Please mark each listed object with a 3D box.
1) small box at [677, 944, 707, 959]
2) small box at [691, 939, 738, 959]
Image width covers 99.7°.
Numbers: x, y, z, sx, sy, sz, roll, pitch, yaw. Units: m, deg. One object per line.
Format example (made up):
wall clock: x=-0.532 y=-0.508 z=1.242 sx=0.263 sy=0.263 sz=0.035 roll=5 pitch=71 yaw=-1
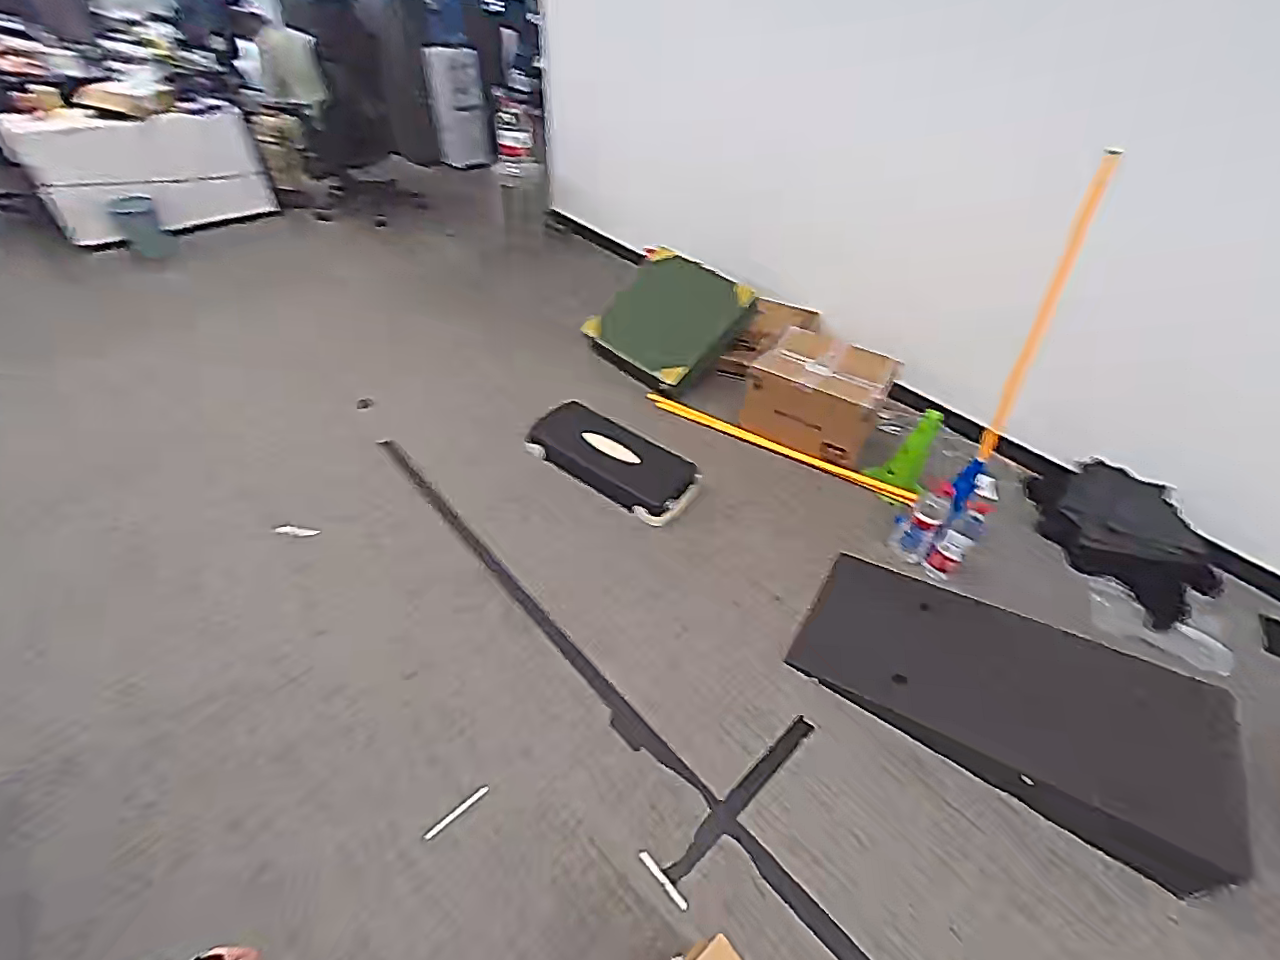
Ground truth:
small box: x=0.102 y=0.986 z=0.968 sx=0.168 sy=0.176 sz=0.179 roll=-29 pitch=55 yaw=-29
small box: x=0.114 y=0.875 z=0.847 sx=0.168 sy=0.176 sz=0.179 roll=-26 pitch=52 yaw=-28
